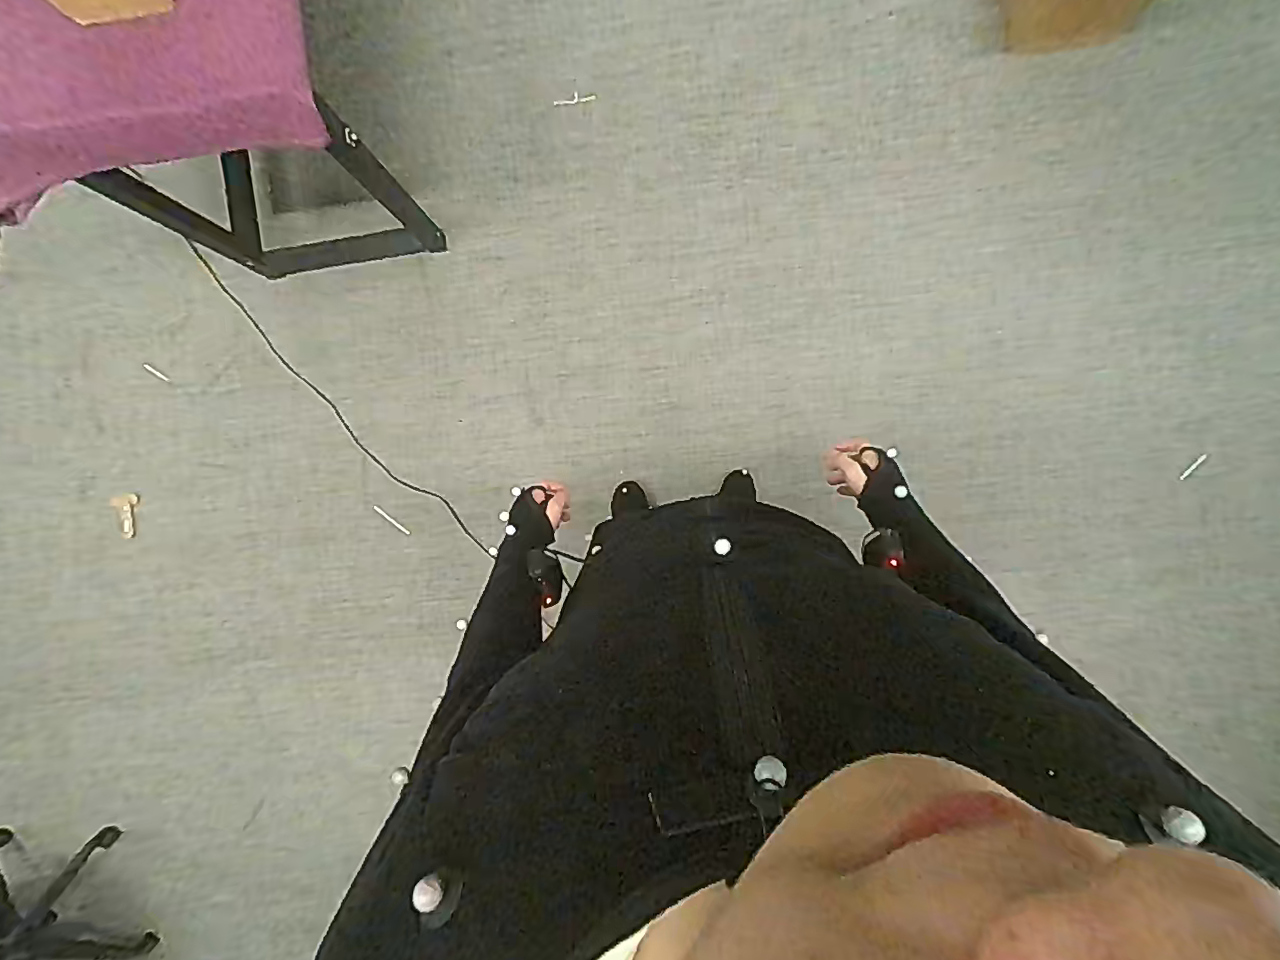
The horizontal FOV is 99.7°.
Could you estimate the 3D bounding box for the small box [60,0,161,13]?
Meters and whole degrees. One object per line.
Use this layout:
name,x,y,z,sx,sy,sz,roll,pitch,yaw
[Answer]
small box,-0.906,-0.890,0.854,0.179,0.176,0.168,-6,91,2
